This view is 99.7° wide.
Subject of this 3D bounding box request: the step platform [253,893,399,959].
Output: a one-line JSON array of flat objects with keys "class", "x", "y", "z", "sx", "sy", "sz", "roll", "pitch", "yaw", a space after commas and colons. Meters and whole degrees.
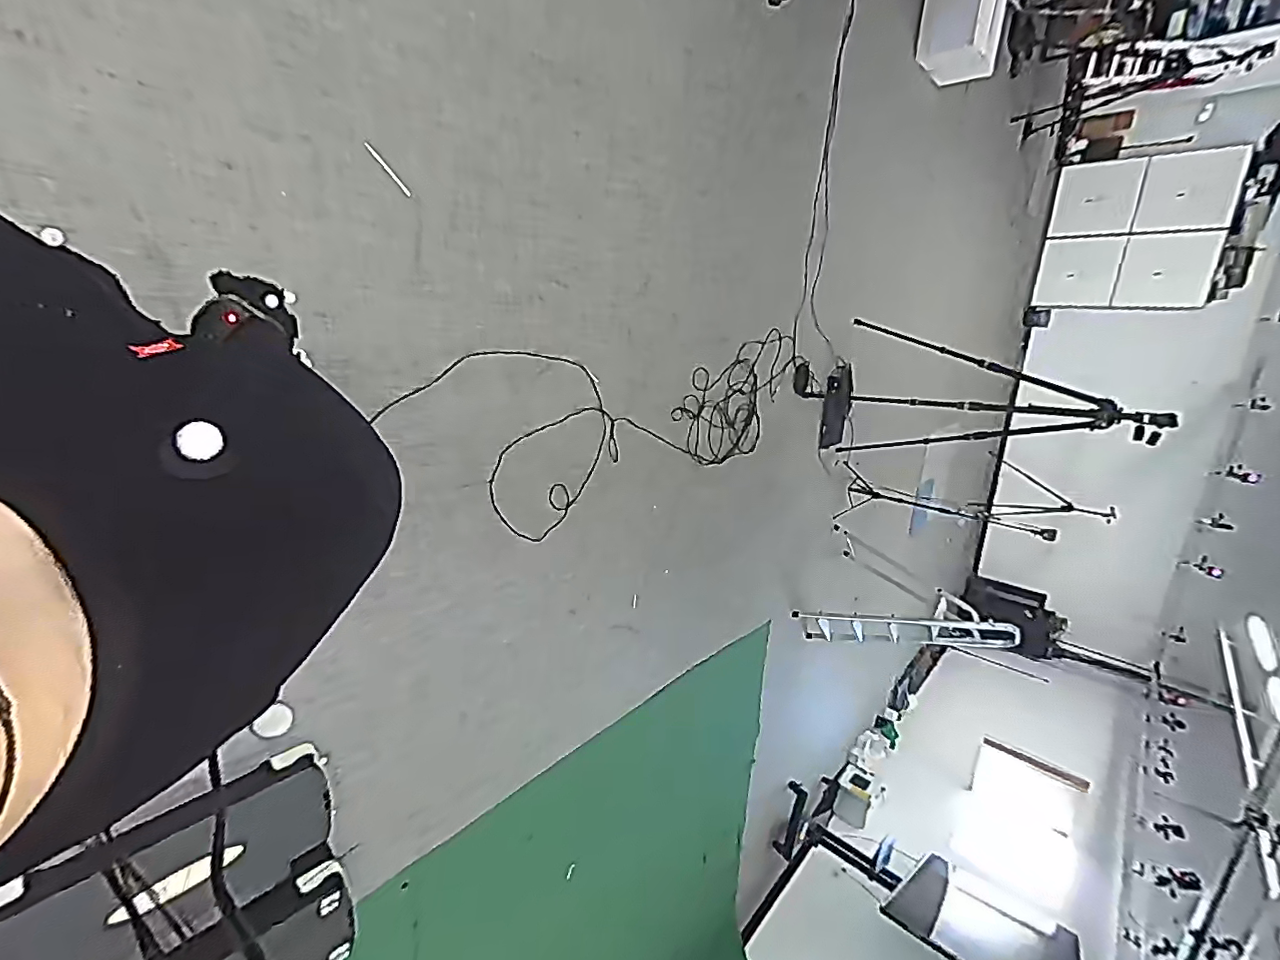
[{"class": "step platform", "x": -0.942, "y": 1.344, "z": 1.264, "sx": 0.684, "sy": 0.204, "sz": 0.286, "roll": -16, "pitch": 114, "yaw": -47}]
